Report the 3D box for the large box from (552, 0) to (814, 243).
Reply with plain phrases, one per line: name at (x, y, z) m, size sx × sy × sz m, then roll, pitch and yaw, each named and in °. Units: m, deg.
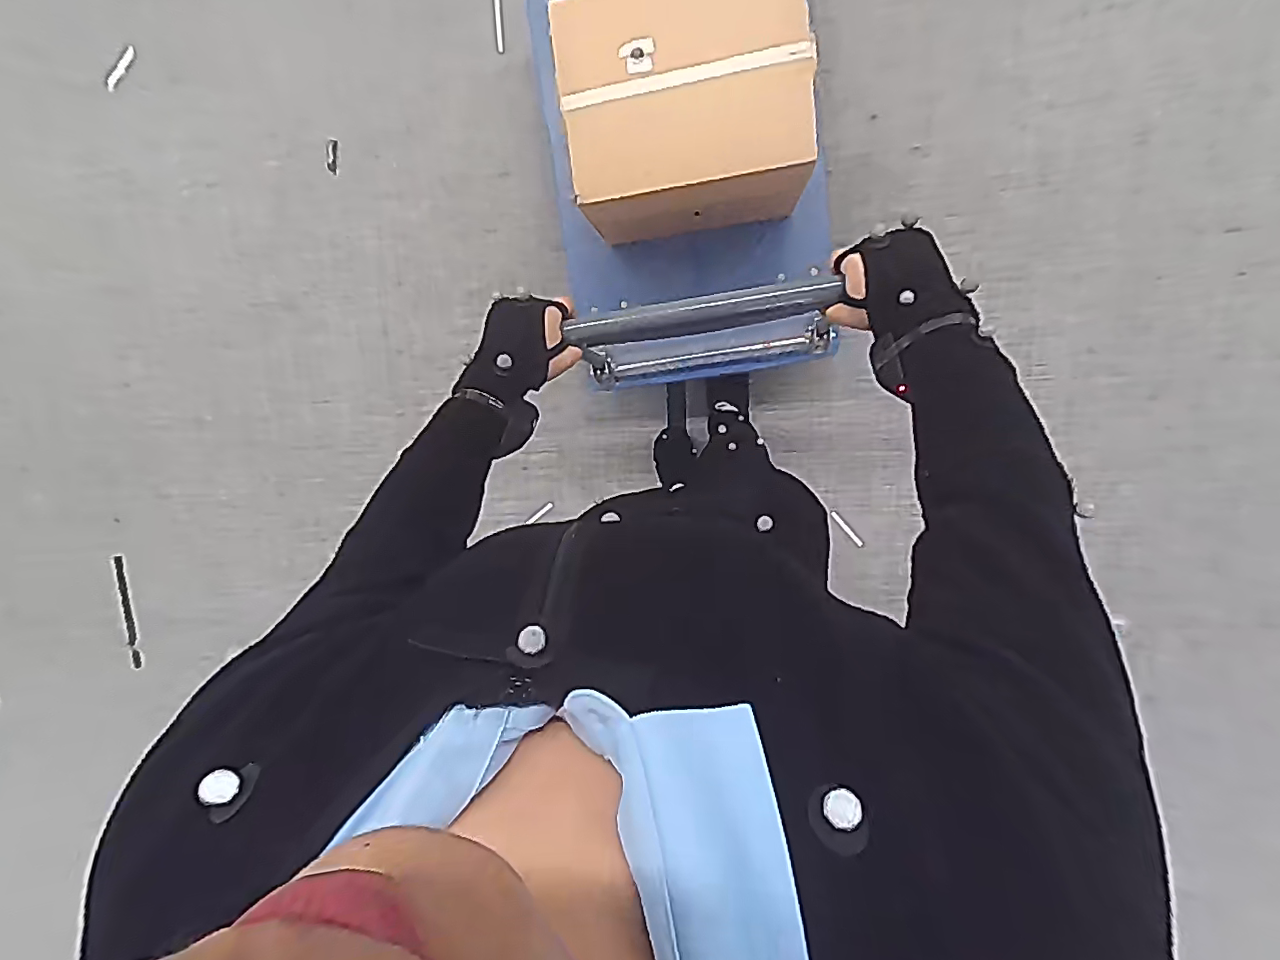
large box at (0.091, -0.679, 1.030) m, size 0.408 × 0.320 × 0.320 m, roll -6°, pitch 99°, yaw 10°
